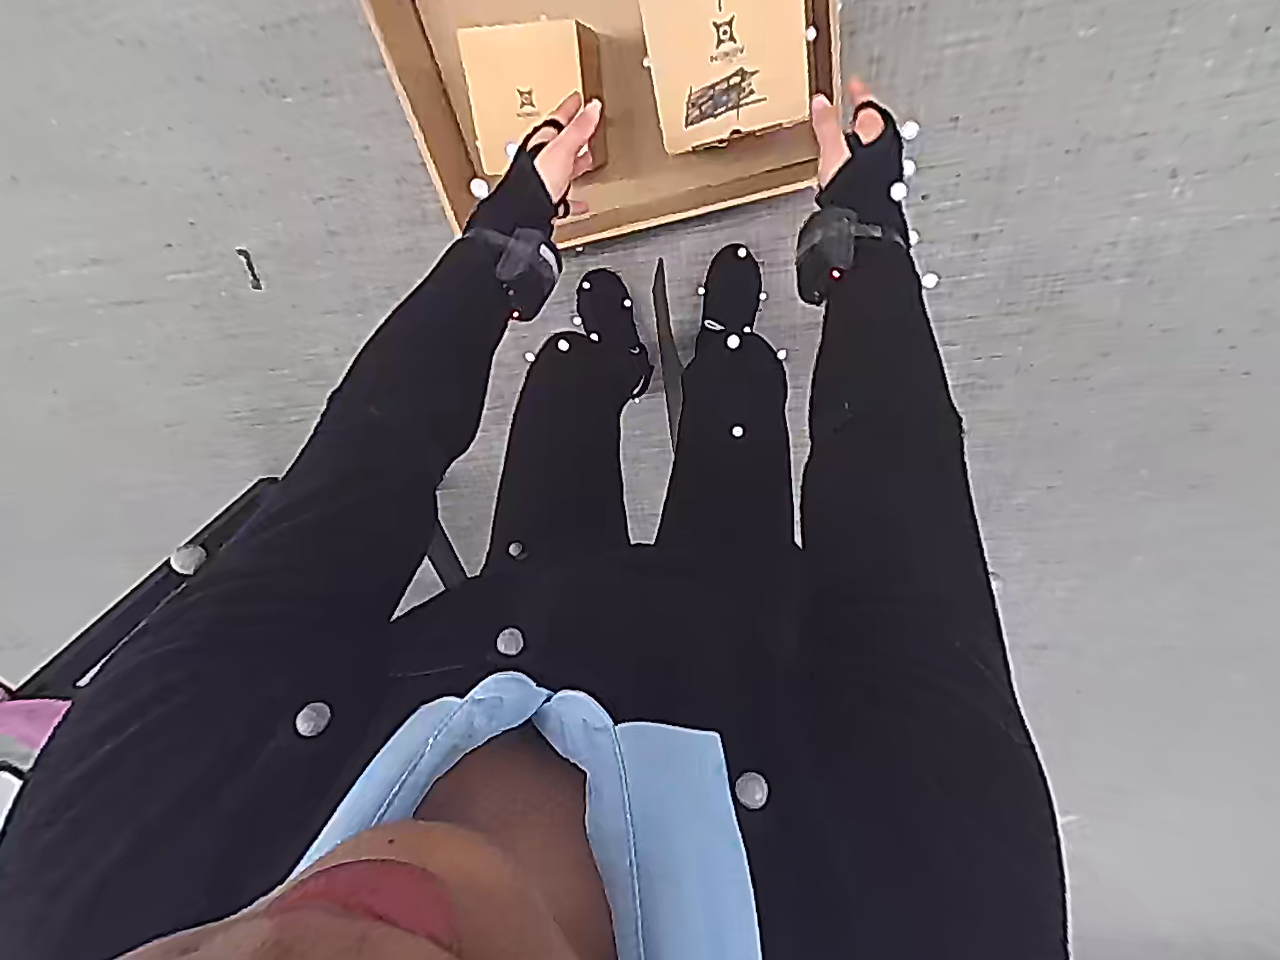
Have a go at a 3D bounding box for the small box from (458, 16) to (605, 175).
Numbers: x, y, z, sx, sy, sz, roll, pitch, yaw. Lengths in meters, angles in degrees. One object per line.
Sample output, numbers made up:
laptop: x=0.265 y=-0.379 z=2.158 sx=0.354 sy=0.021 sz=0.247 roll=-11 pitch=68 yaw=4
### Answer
small box: x=-0.151 y=-0.576 z=0.822 sx=0.168 sy=0.176 sz=0.179 roll=1 pitch=126 yaw=7

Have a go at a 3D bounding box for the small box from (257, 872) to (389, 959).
small box: x=-0.731 y=1.051 z=1.269 sx=0.168 sy=0.176 sz=0.179 roll=-2 pitch=126 yaw=11

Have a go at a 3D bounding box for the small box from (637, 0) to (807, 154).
small box: x=0.098 y=-0.504 z=0.627 sx=0.168 sy=0.176 sz=0.179 roll=-7 pitch=124 yaw=14
